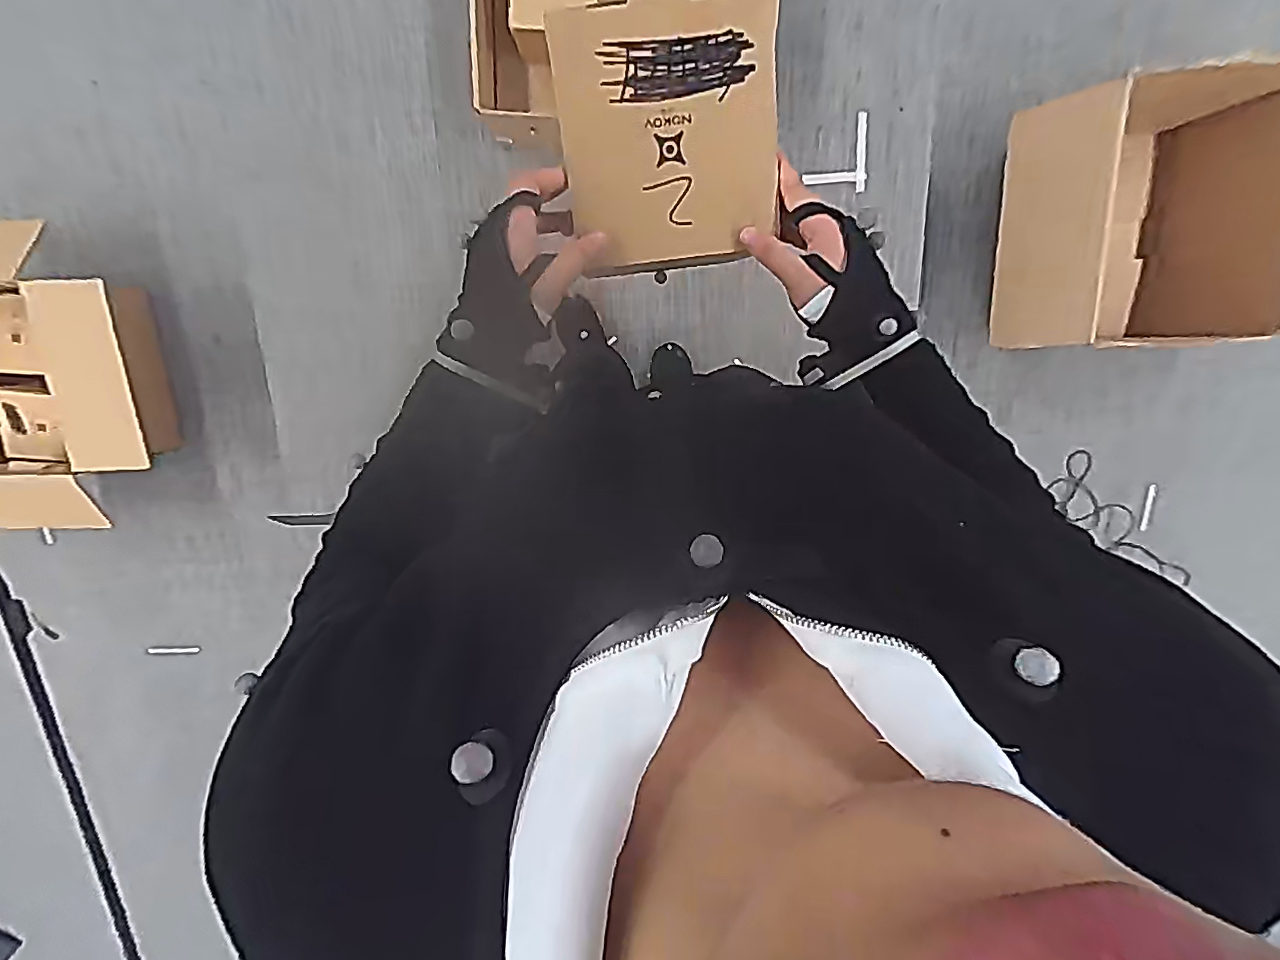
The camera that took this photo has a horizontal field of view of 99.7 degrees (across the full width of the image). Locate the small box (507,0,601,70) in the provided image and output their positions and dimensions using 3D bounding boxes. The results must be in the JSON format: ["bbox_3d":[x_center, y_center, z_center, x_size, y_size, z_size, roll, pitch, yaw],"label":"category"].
[{"bbox_3d":[-0.174,-0.990,1.131,0.179,0.176,0.168,2,107,-3],"label":"small box"}]
